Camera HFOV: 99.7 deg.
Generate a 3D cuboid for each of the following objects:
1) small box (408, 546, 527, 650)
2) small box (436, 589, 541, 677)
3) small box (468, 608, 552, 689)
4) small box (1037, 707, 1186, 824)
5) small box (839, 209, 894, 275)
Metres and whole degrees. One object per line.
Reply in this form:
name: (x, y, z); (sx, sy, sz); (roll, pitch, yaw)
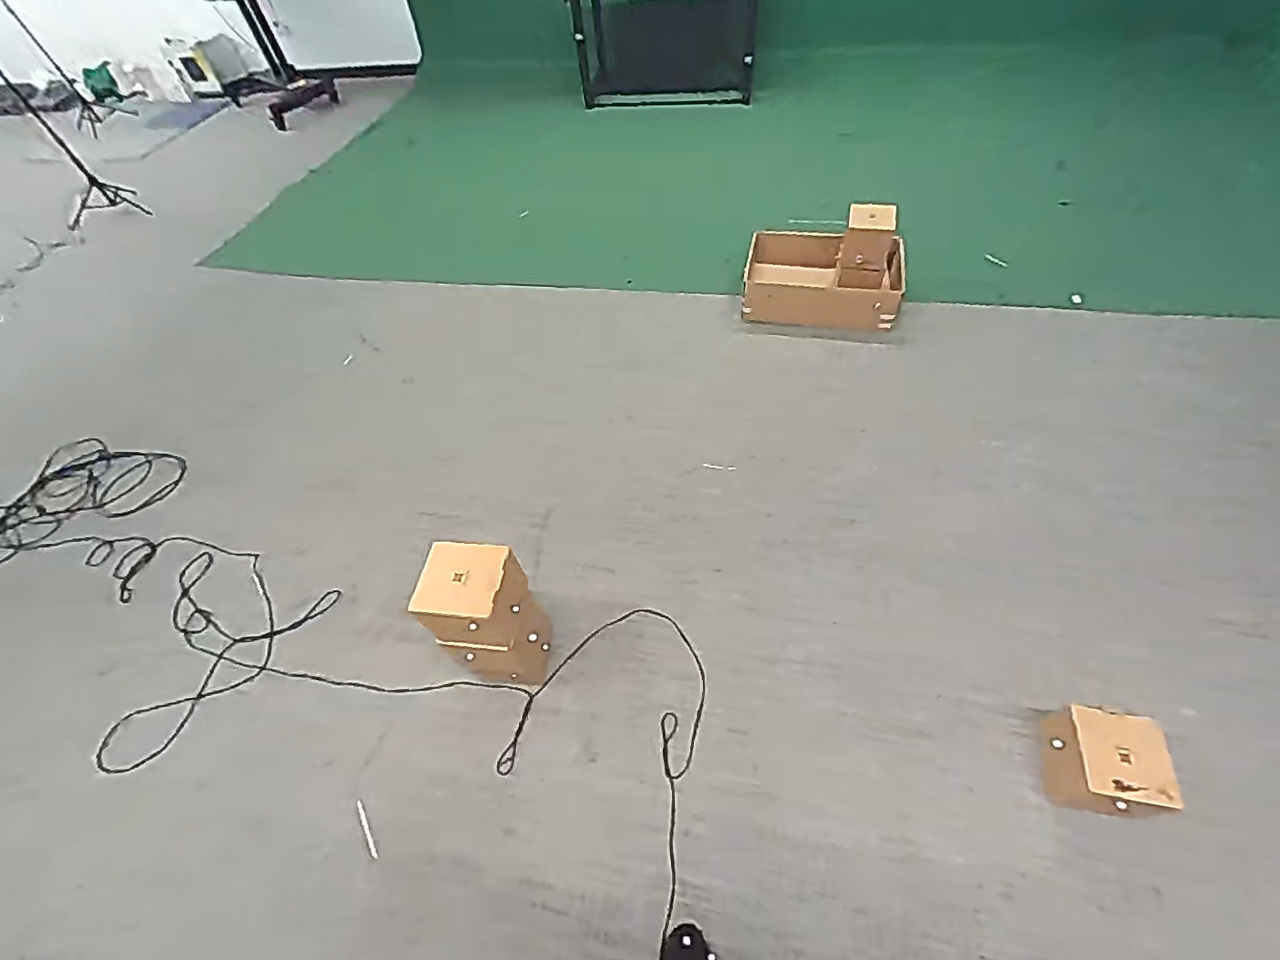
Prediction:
small box: (-0.368, 0.262, 1.186); (0.179, 0.176, 0.168); (3, 53, 7)
small box: (-0.358, 0.365, 1.311); (0.179, 0.176, 0.168); (3, 53, 8)
small box: (-0.345, 0.451, 1.451); (0.179, 0.176, 0.168); (0, 52, 7)
small box: (0.999, 0.618, 1.169); (0.168, 0.176, 0.179); (7, 53, 12)
small box: (0.880, -0.929, 2.105); (0.168, 0.176, 0.179); (9, 56, 14)
